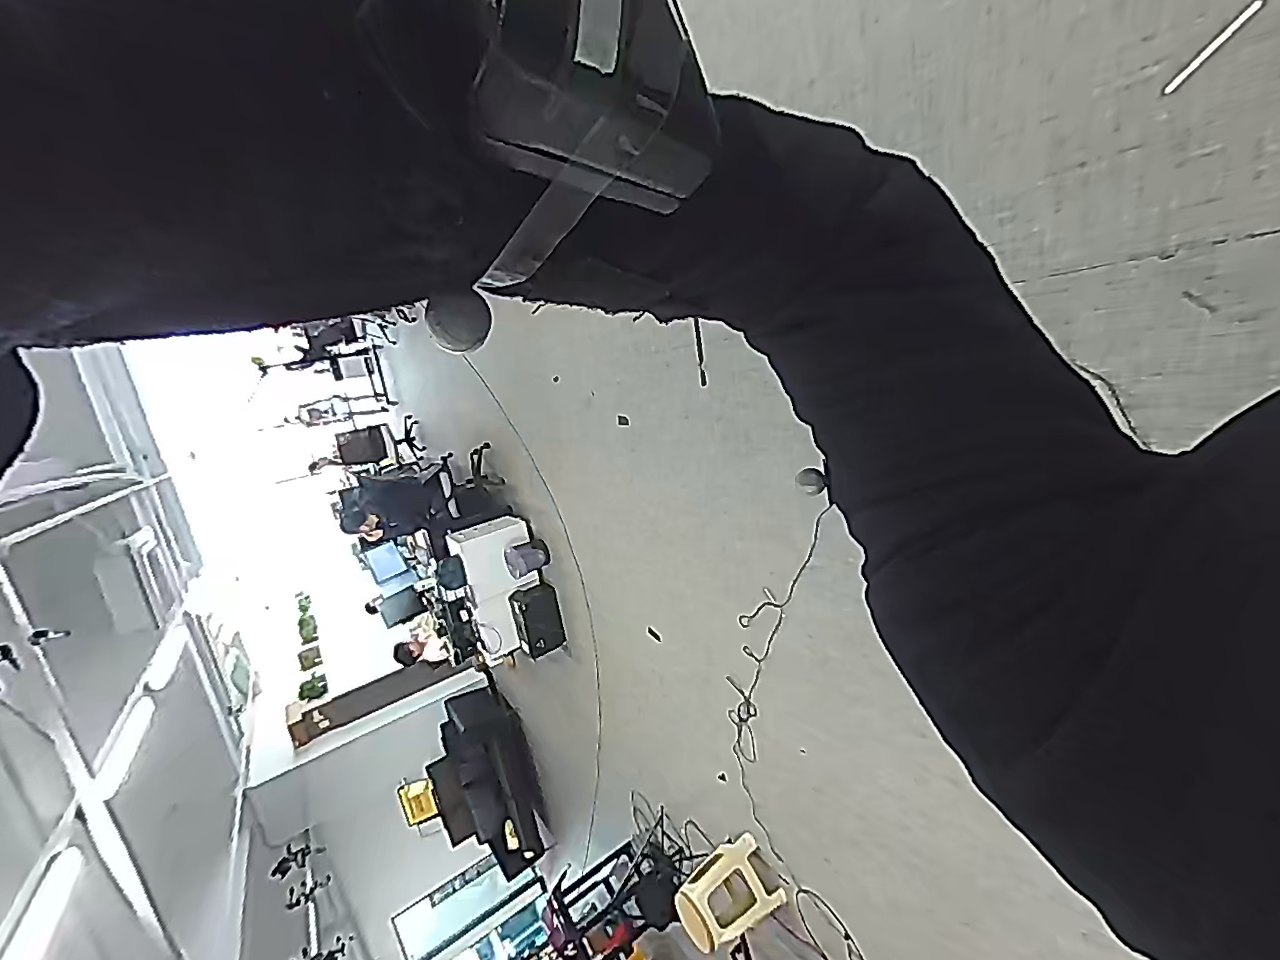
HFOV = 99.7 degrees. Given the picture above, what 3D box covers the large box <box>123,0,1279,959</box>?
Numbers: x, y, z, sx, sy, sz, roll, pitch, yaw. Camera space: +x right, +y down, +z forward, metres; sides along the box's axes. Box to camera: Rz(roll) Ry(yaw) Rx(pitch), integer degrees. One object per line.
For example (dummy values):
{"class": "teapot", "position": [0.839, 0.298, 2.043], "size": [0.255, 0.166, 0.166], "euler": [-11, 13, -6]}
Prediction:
{"class": "large box", "position": [0.122, 0.061, 0.152], "size": [0.408, 0.320, 0.320], "euler": [14, -115, 53]}
